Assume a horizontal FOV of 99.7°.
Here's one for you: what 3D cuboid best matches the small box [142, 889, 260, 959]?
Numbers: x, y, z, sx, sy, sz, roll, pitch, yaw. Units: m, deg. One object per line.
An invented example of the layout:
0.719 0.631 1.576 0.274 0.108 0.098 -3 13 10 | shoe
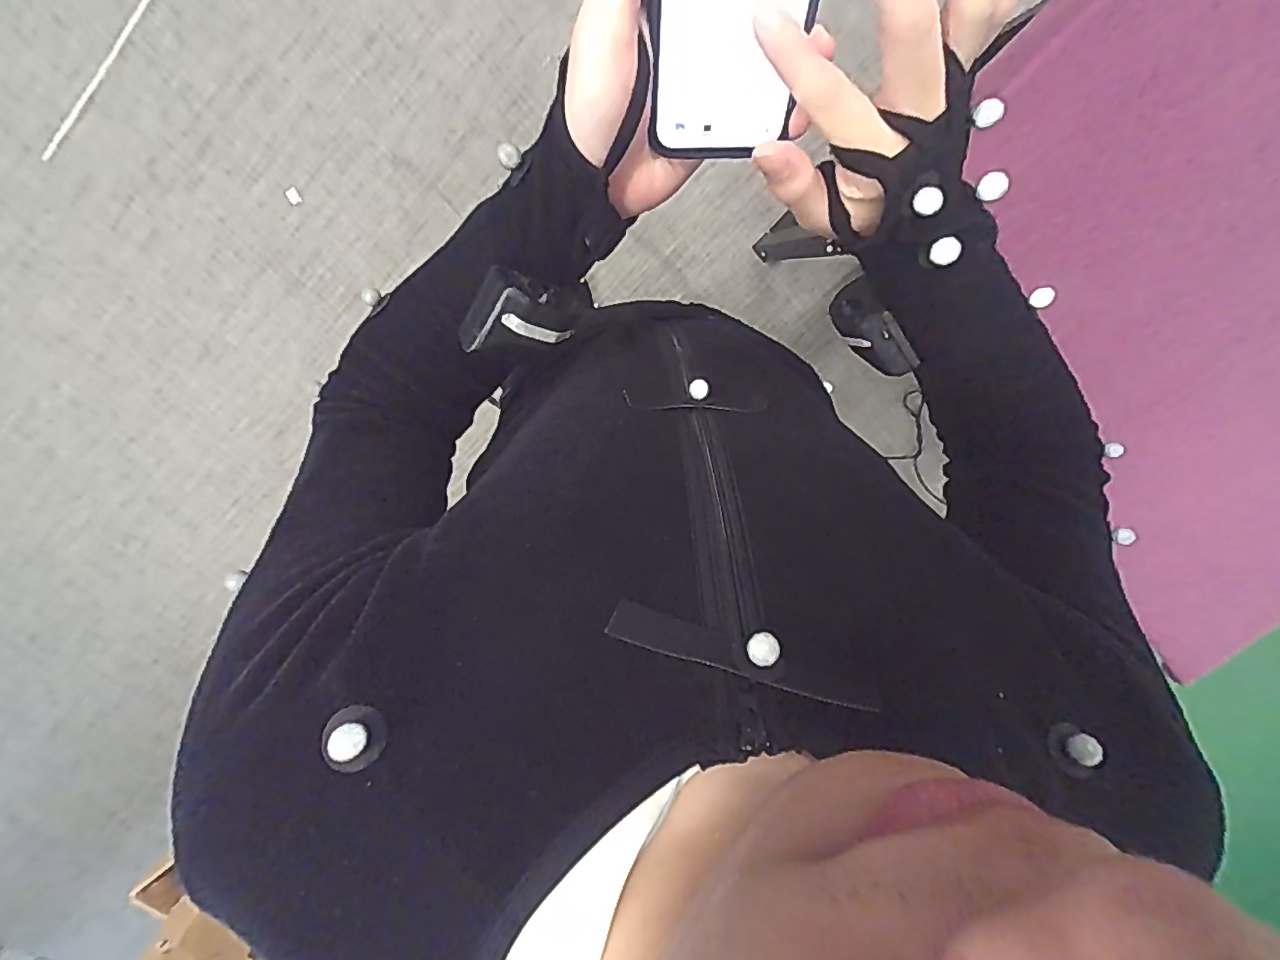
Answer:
-1.056 1.128 1.287 0.179 0.176 0.168 -36 108 9 | small box
